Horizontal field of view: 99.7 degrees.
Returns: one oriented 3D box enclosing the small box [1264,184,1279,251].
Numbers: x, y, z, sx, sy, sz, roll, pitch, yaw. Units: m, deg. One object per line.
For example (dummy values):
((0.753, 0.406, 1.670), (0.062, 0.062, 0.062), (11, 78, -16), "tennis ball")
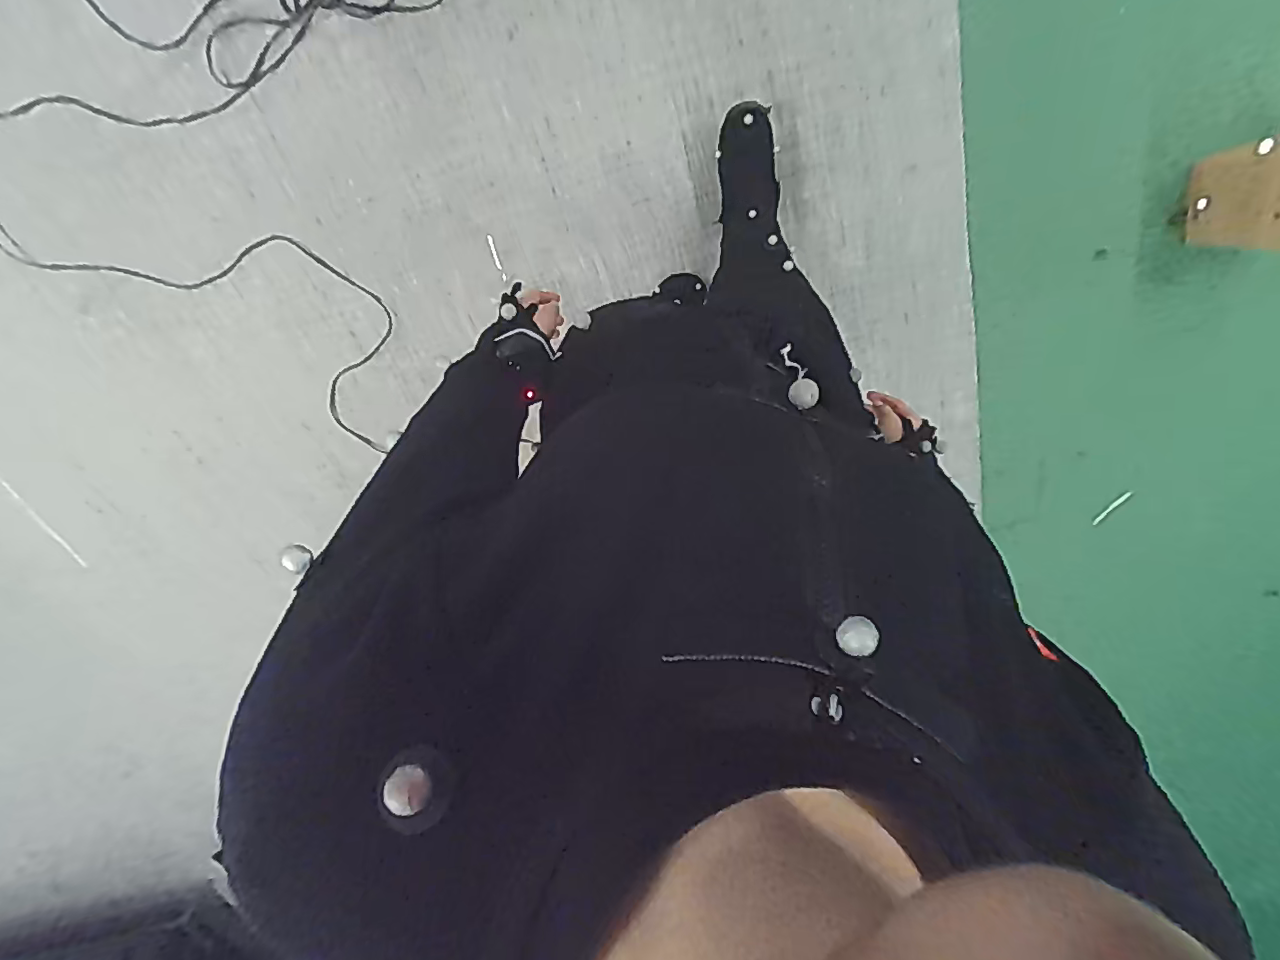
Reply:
((1.224, -0.482, 0.899), (0.179, 0.176, 0.168), (-14, 116, 8), "small box")
